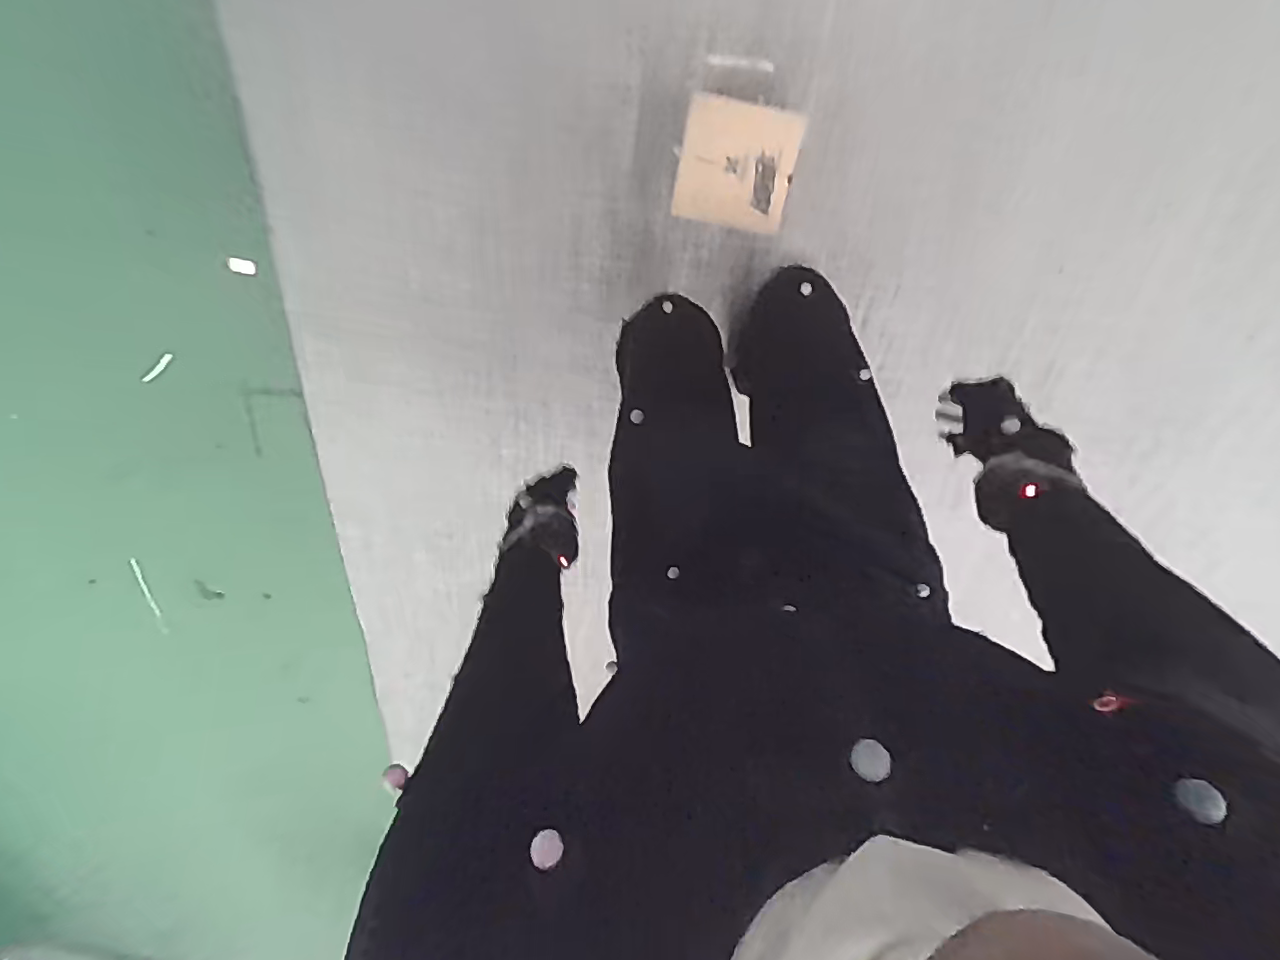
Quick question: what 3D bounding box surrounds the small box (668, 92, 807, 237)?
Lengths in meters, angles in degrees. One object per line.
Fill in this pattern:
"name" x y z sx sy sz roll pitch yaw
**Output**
"small box" 0.153 -0.518 0.893 0.179 0.176 0.168 13 121 0
